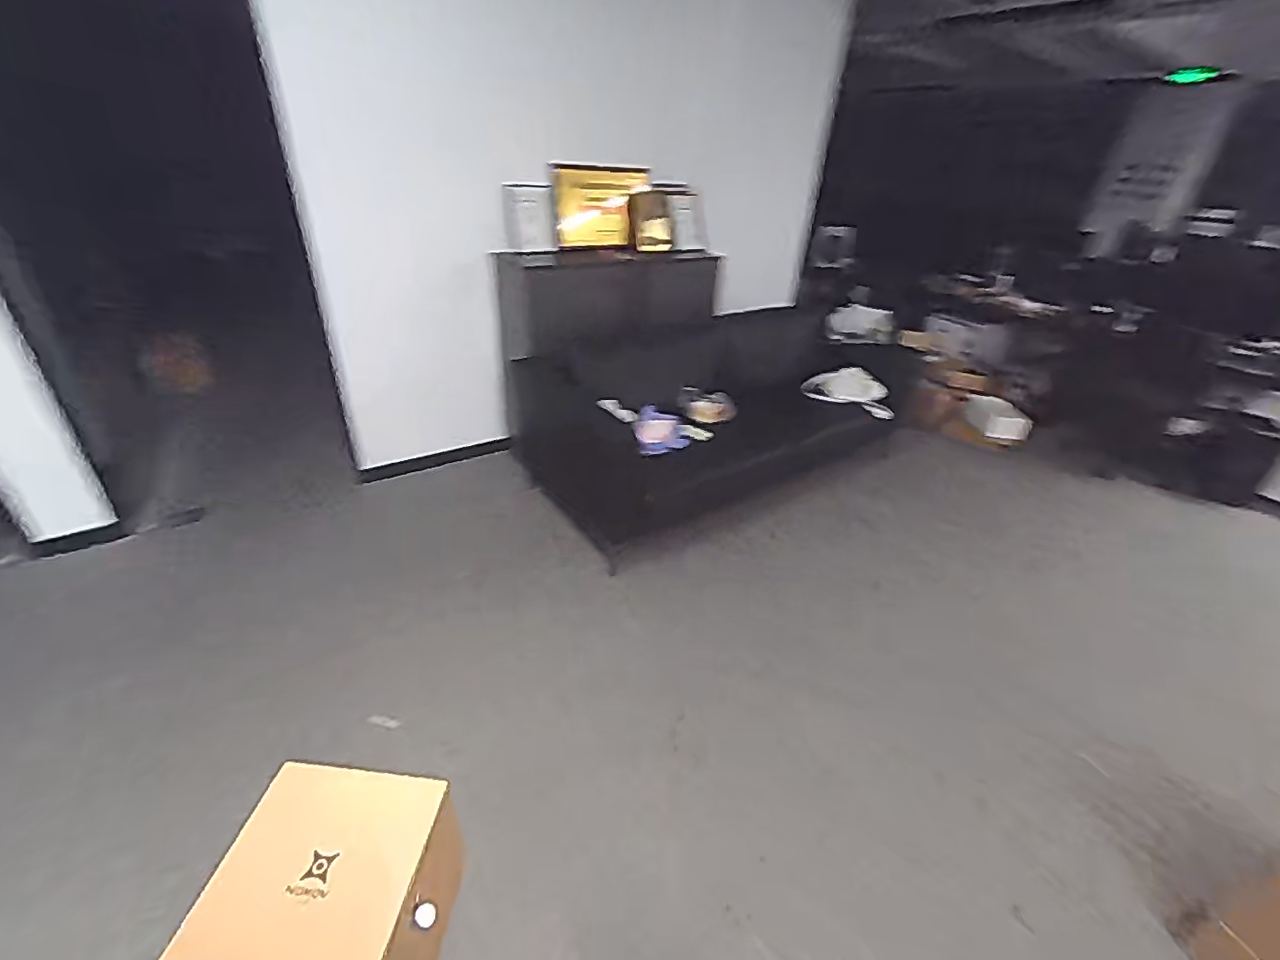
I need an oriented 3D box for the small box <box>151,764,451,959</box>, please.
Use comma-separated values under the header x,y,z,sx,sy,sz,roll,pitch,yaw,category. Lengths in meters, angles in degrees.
x,y,z,sx,sy,sz,roll,pitch,yaw,category
-0.285,0.399,0.498,0.168,0.176,0.179,6,35,1,small box
